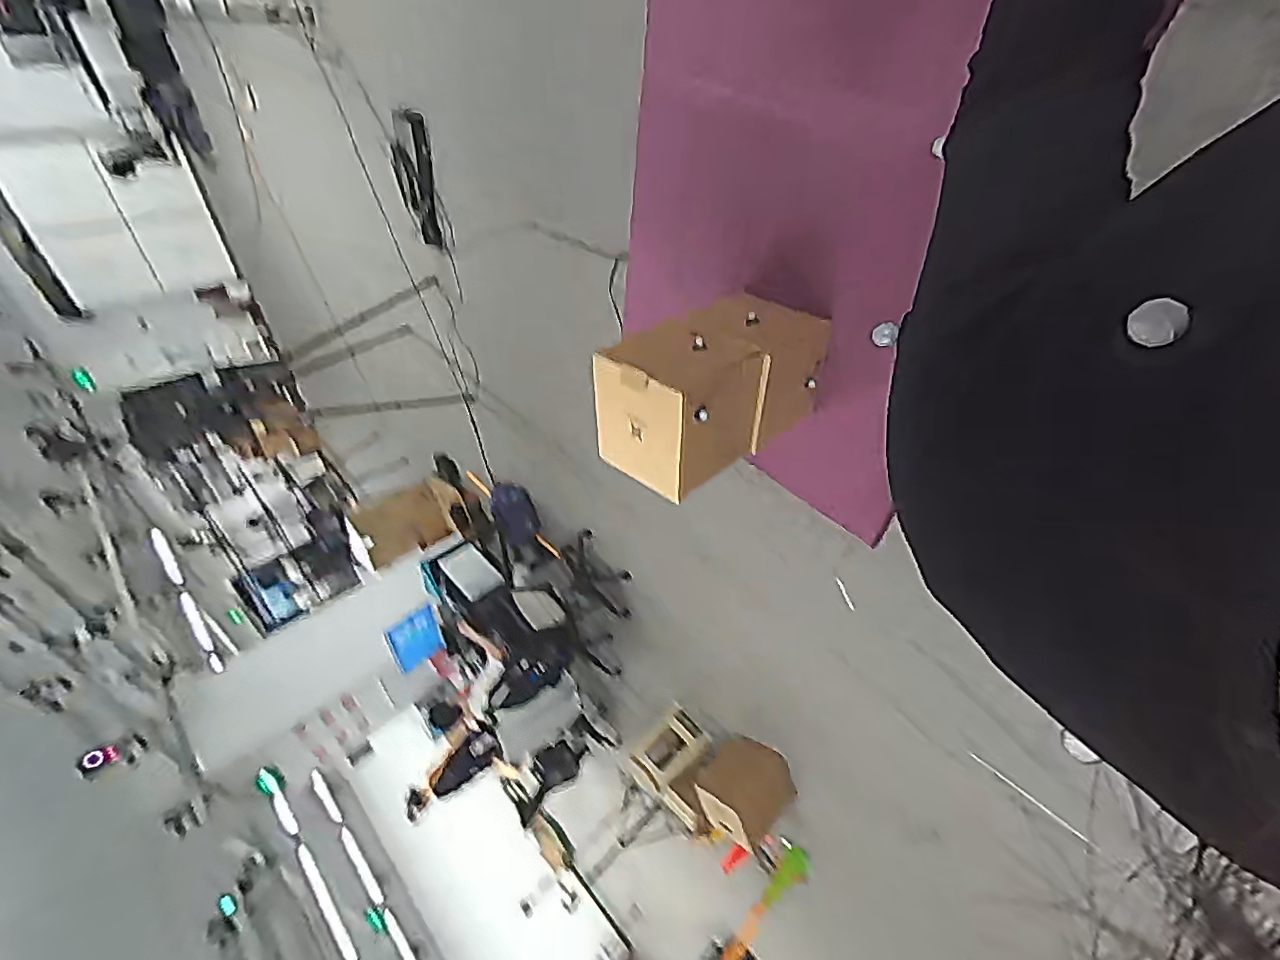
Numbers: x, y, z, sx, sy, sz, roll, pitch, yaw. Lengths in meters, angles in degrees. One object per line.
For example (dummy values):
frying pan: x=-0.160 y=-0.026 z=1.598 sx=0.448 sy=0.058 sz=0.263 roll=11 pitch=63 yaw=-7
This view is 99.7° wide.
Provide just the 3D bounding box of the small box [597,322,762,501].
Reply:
small box: x=0.058 y=-0.106 z=0.785 sx=0.168 sy=0.176 sz=0.179 roll=31 pitch=137 yaw=35
